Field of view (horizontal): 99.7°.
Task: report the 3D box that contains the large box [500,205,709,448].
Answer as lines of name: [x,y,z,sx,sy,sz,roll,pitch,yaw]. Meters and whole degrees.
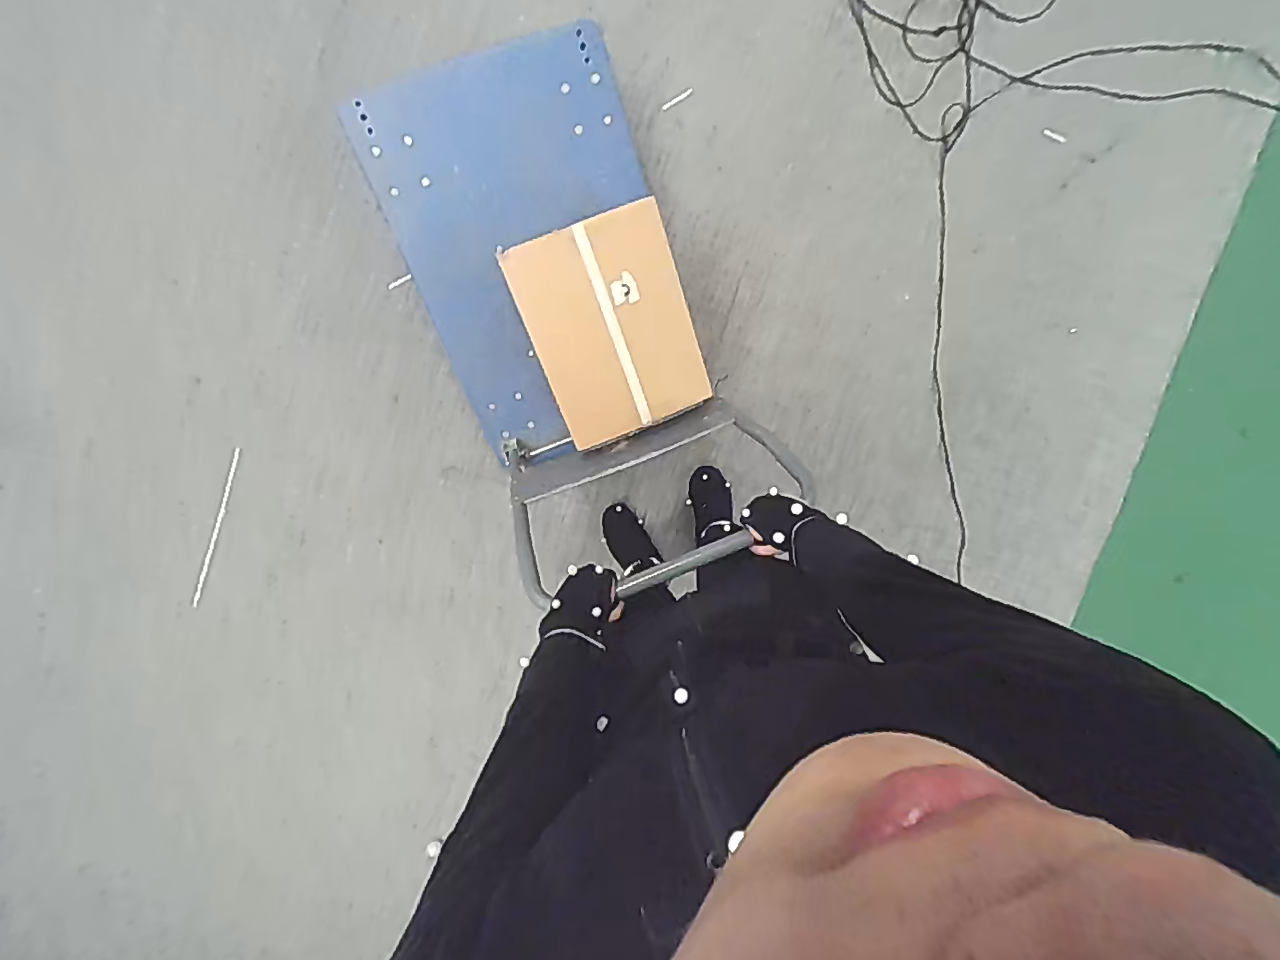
large box: [-0.084,-0.341,1.221,0.320,0.320,0.408,-23,112,-5]
